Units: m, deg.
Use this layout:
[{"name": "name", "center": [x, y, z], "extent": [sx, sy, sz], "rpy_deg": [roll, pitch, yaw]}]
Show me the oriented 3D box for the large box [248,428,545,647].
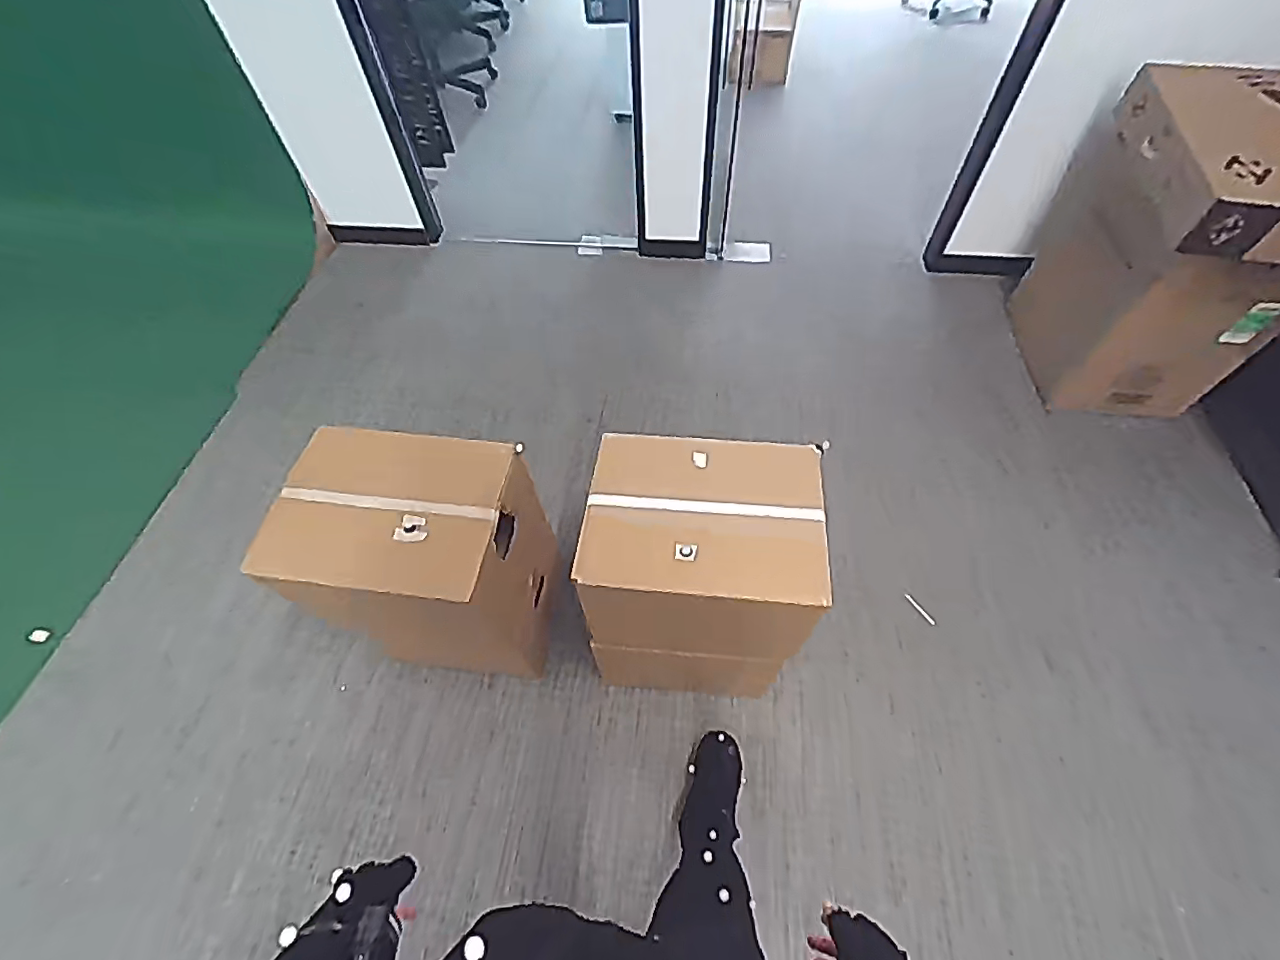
[{"name": "large box", "center": [-0.440, 0.123, 1.087], "extent": [0.408, 0.320, 0.320], "rpy_deg": [6, 58, 5]}]
